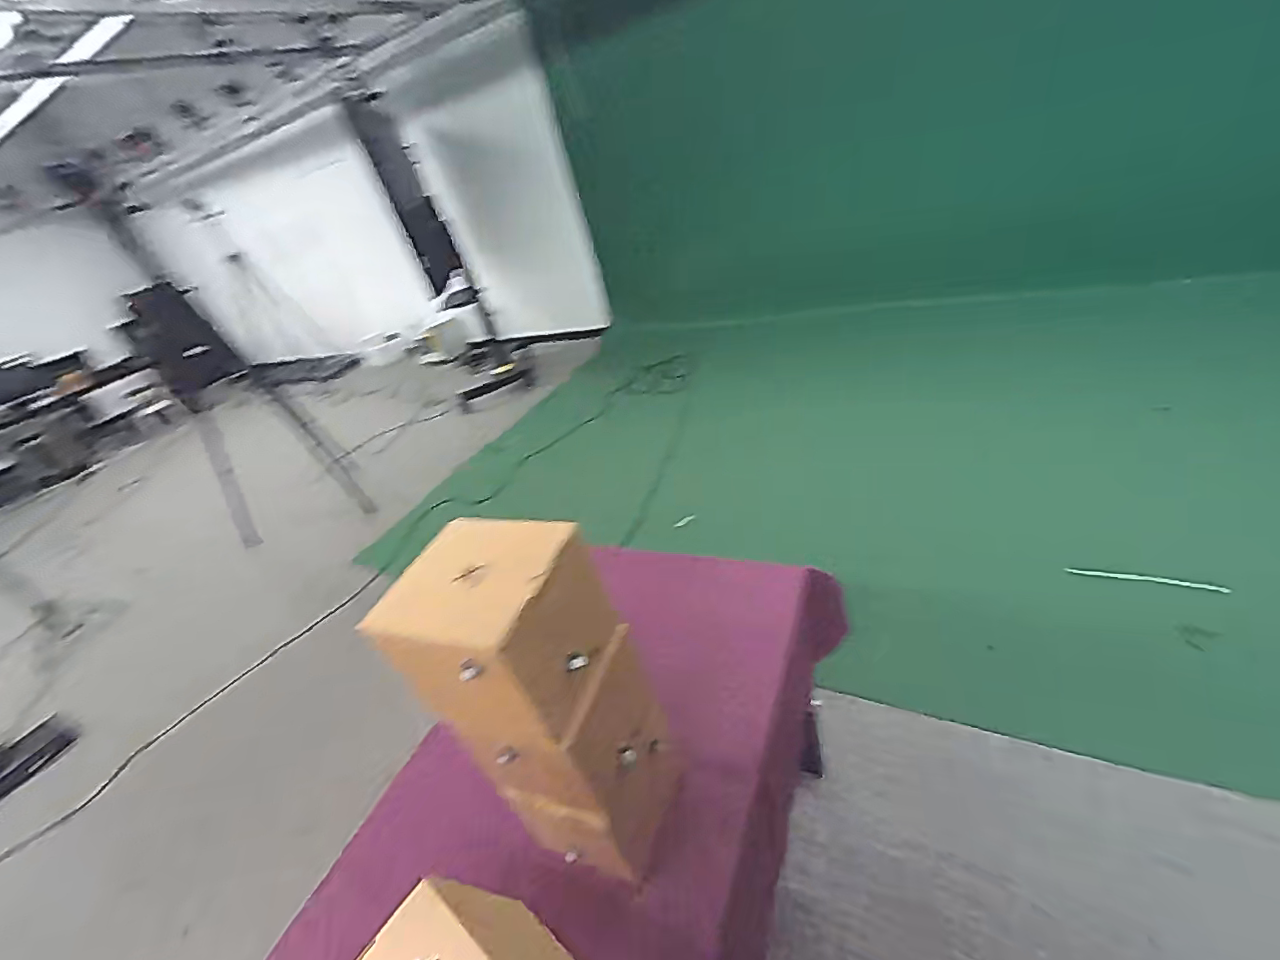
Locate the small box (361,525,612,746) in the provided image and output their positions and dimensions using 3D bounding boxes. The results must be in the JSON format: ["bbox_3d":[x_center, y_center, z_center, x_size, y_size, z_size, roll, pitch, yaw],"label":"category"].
[{"bbox_3d":[-0.155,0.168,0.604,0.179,0.176,0.168,-1,37,24],"label":"small box"}]

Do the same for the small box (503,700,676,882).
[{"bbox_3d":[-0.059,0.426,0.778,0.168,0.176,0.179,0,37,28],"label":"small box"}]

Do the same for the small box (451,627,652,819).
[{"bbox_3d":[-0.106,0.296,0.691,0.179,0.176,0.168,1,38,26],"label":"small box"}]
